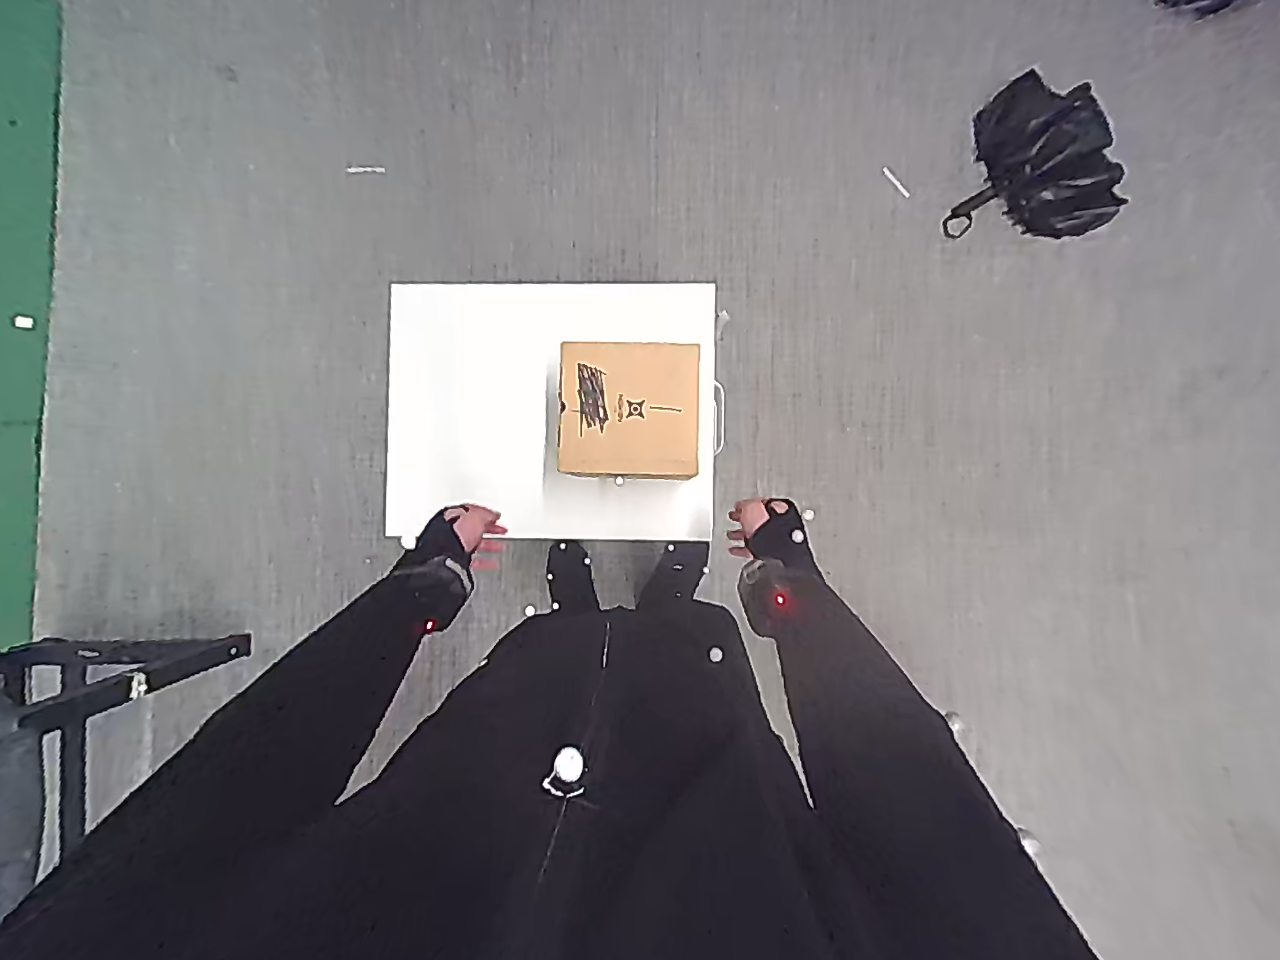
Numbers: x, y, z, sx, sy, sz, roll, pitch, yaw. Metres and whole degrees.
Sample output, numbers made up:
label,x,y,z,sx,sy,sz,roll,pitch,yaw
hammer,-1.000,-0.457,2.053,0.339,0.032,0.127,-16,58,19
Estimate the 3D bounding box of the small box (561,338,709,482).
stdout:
label,x,y,z,sx,sy,sz,roll,pitch,yaw
small box,-0.006,-0.084,0.735,0.179,0.176,0.168,2,87,-1
